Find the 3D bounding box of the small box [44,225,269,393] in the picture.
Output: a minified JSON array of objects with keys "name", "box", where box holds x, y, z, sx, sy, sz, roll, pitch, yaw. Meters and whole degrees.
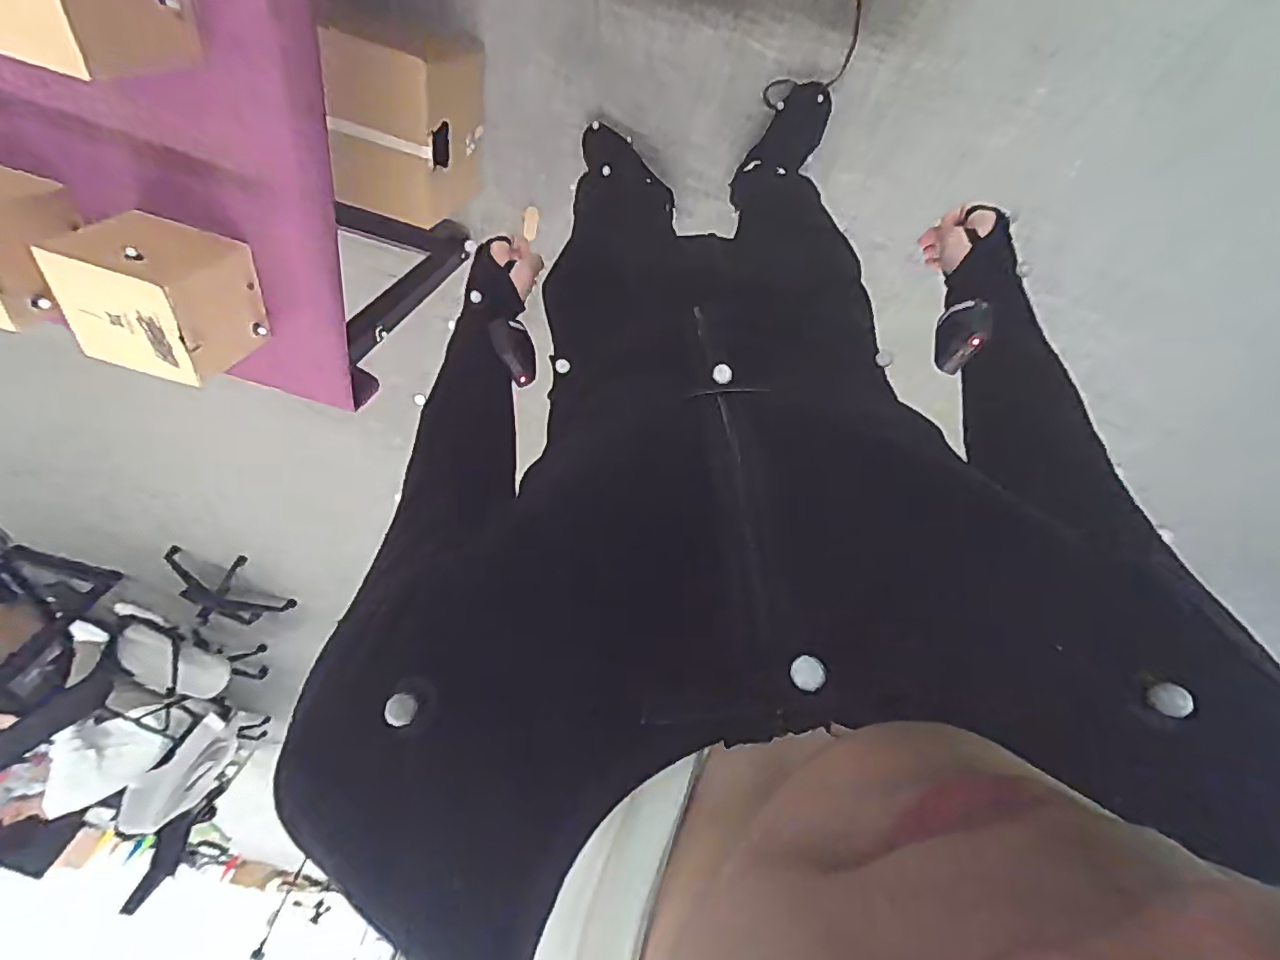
[{"name":"small box","box":[-0.700,-0.263,0.818,0.179,0.176,0.168,17,131,-2]}]
